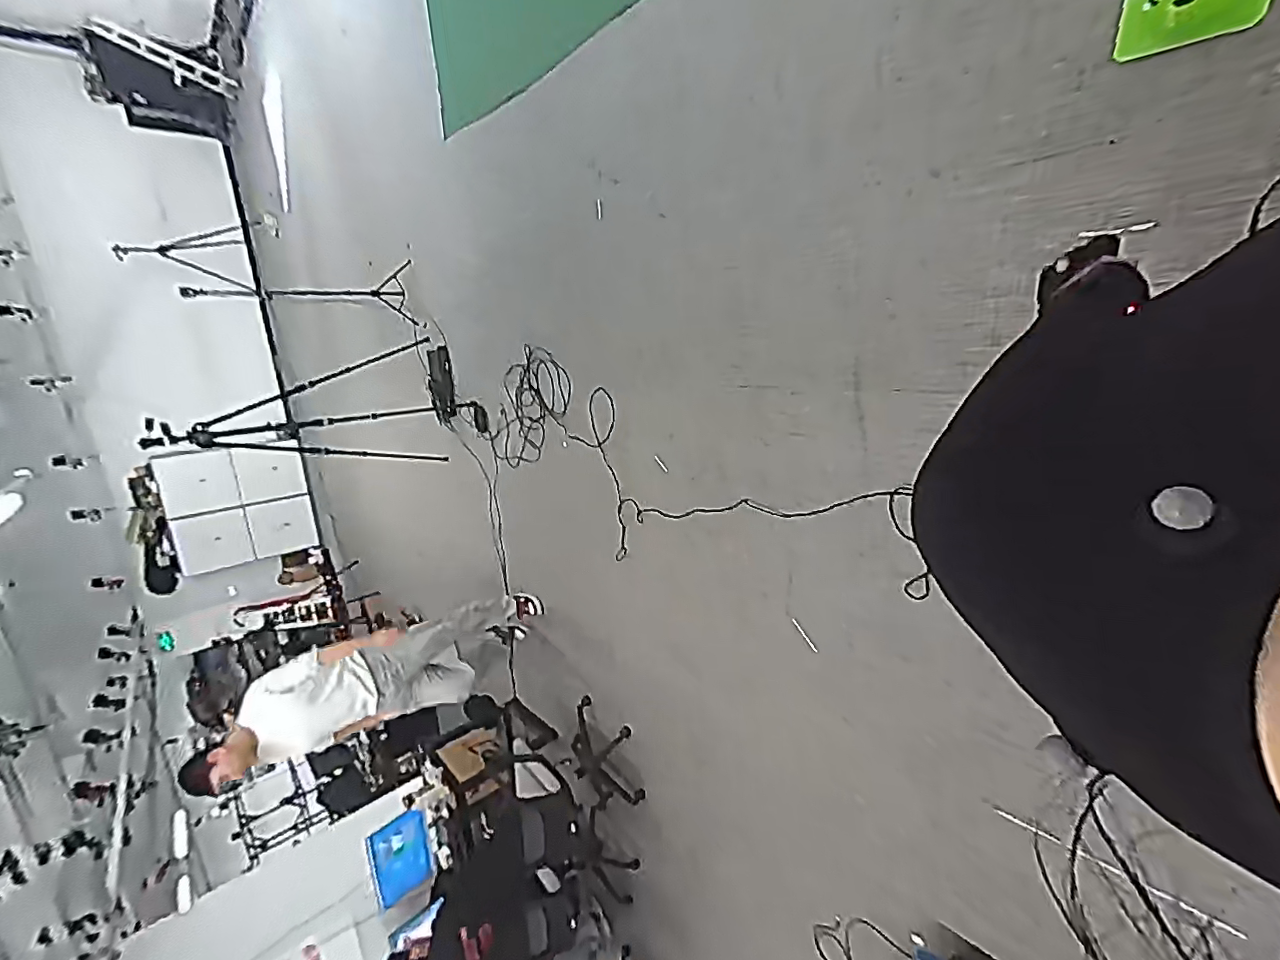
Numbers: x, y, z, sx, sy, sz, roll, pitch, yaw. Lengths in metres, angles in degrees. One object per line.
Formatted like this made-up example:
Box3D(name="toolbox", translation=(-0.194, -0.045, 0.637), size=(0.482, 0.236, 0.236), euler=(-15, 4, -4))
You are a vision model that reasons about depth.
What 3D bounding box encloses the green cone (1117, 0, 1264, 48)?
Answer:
Box3D(name="green cone", translation=(0.850, -0.866, 0.840), size=(0.200, 0.368, 0.202), euler=(16, 115, 47))
